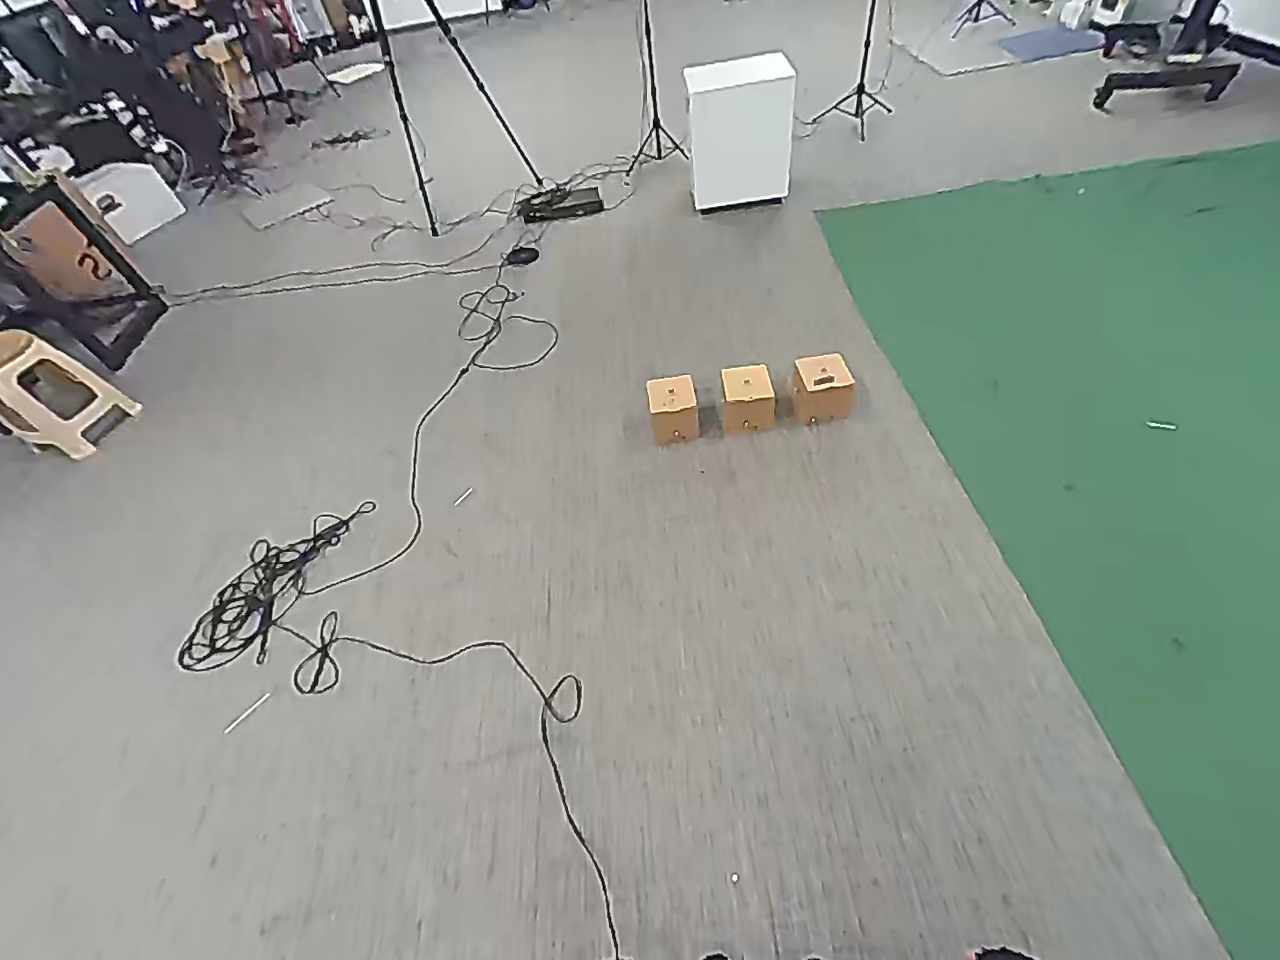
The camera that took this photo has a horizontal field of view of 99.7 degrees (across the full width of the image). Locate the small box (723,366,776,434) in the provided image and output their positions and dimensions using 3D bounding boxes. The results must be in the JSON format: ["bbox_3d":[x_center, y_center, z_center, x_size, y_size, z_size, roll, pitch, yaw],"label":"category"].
[{"bbox_3d":[0.395,-0.291,1.974,0.168,0.176,0.179,-6,51,4],"label":"small box"}]

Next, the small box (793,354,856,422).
[{"bbox_3d":[0.661,-0.326,1.957,0.168,0.176,0.179,-9,50,2],"label":"small box"}]

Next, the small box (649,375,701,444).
[{"bbox_3d":[0.129,-0.258,1.987,0.168,0.176,0.179,-8,51,4],"label":"small box"}]
